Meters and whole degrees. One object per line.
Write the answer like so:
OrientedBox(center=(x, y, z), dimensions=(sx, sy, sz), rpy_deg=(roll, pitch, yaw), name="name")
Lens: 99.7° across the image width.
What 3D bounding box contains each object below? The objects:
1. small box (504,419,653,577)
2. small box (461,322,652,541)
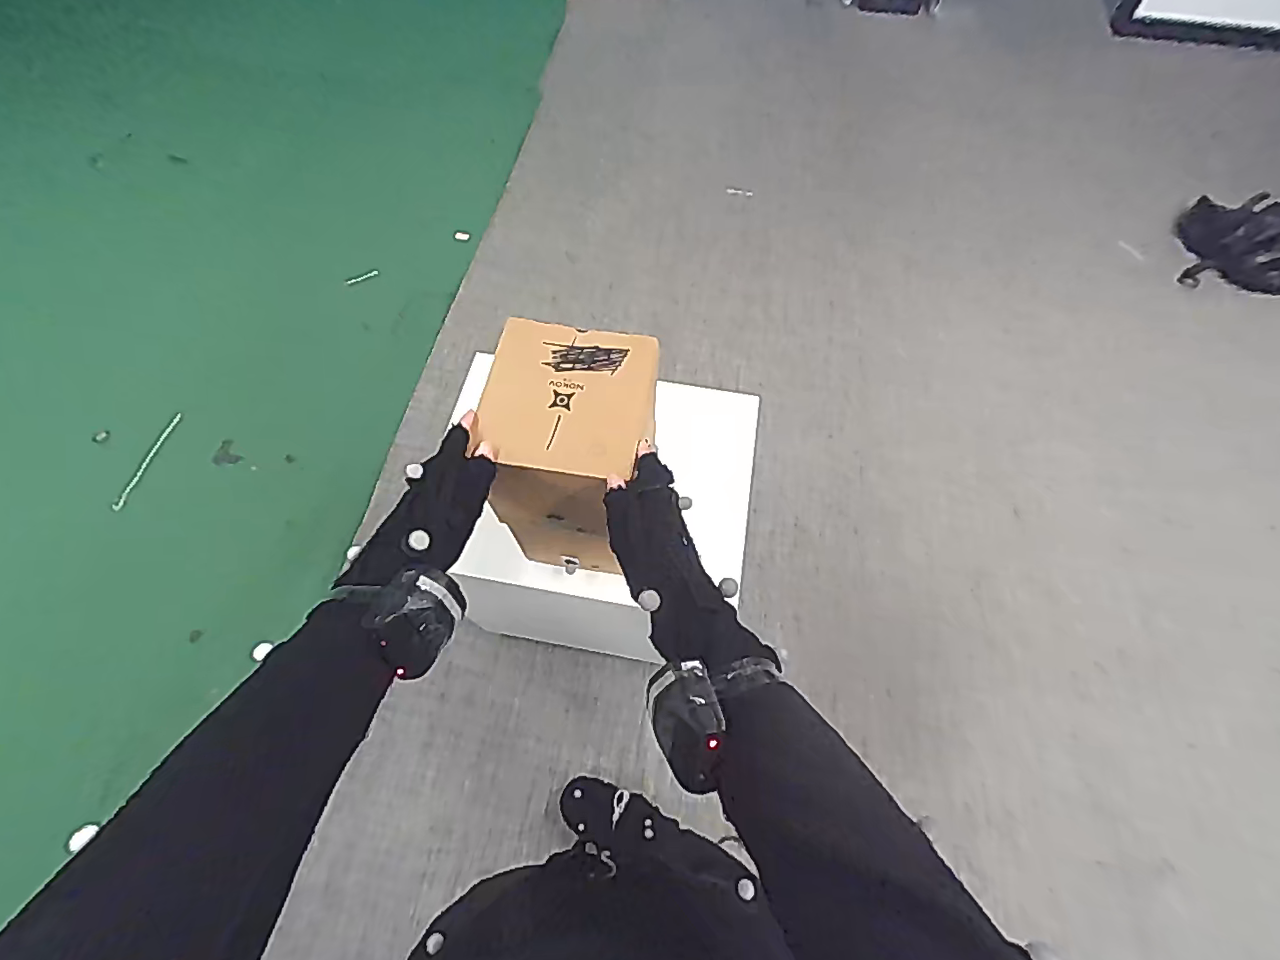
OrientedBox(center=(-0.074, 0.021, 0.758), dimensions=(0.168, 0.176, 0.179), rpy_deg=(6, 65, 4), name="small box")
OrientedBox(center=(-0.078, -0.049, 0.609), dimensions=(0.168, 0.176, 0.179), rpy_deg=(5, 62, 3), name="small box")
